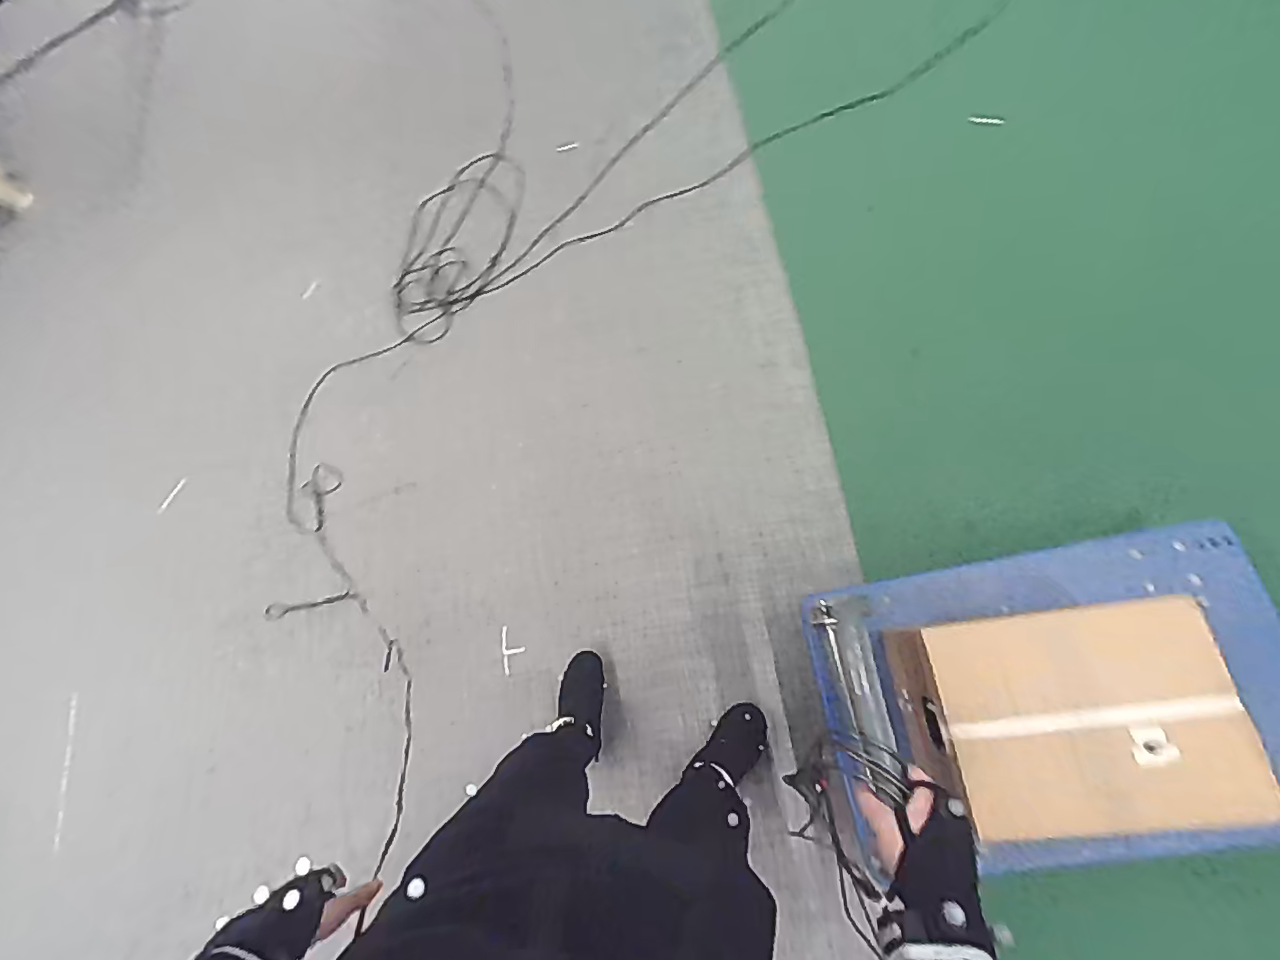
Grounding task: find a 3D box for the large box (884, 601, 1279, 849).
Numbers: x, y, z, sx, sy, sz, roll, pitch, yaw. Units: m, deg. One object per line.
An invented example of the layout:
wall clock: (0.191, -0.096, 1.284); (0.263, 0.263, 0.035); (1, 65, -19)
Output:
large box: (0.706, 0.406, 0.951); (0.408, 0.320, 0.320); (-10, 73, 9)
